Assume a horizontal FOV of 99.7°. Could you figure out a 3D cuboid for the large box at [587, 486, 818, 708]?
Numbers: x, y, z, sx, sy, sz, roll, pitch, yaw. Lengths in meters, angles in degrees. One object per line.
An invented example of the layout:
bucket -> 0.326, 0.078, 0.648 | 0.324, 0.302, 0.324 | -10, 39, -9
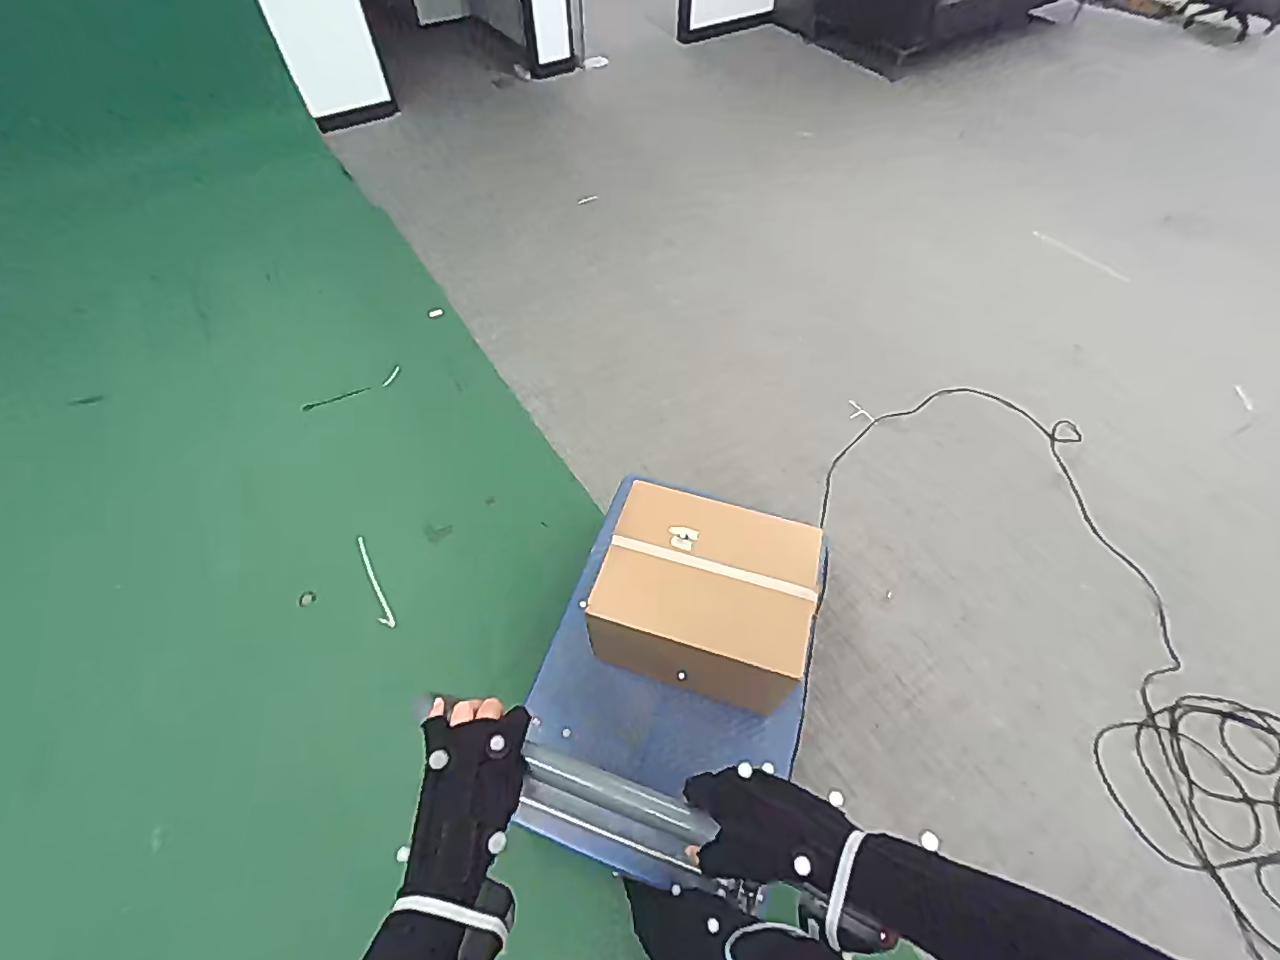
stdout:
large box -> 0.136, 0.260, 1.177 | 0.408, 0.320, 0.320 | 14, 57, 10
